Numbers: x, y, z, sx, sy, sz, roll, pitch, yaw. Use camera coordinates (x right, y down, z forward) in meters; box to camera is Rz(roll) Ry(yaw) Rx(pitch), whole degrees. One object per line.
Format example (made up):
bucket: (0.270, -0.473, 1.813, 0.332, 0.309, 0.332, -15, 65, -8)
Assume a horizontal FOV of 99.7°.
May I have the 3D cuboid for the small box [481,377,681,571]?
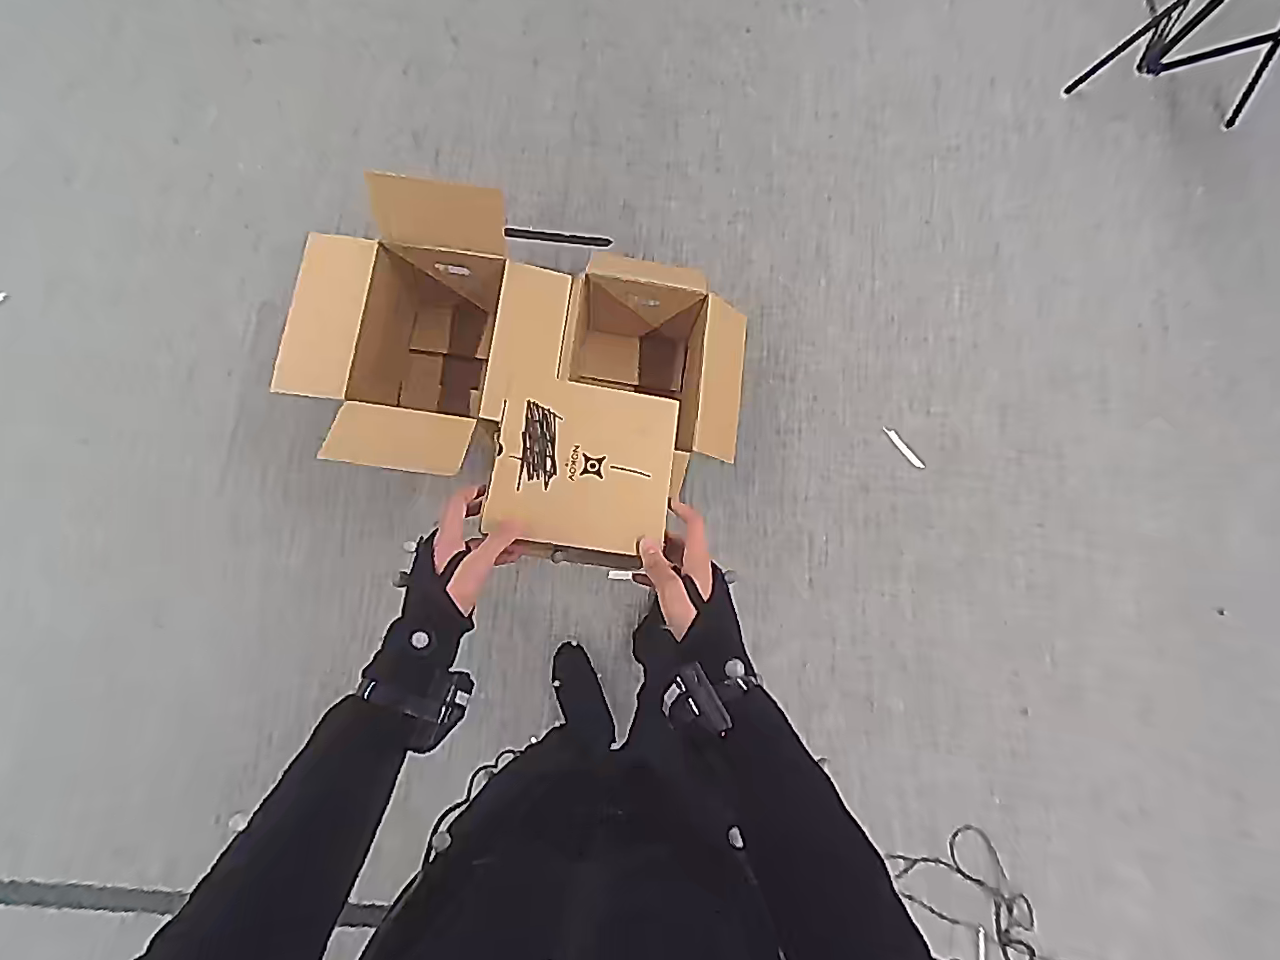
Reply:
small box: (-0.064, 0.007, 0.604, 0.179, 0.176, 0.168, 9, 76, -7)
